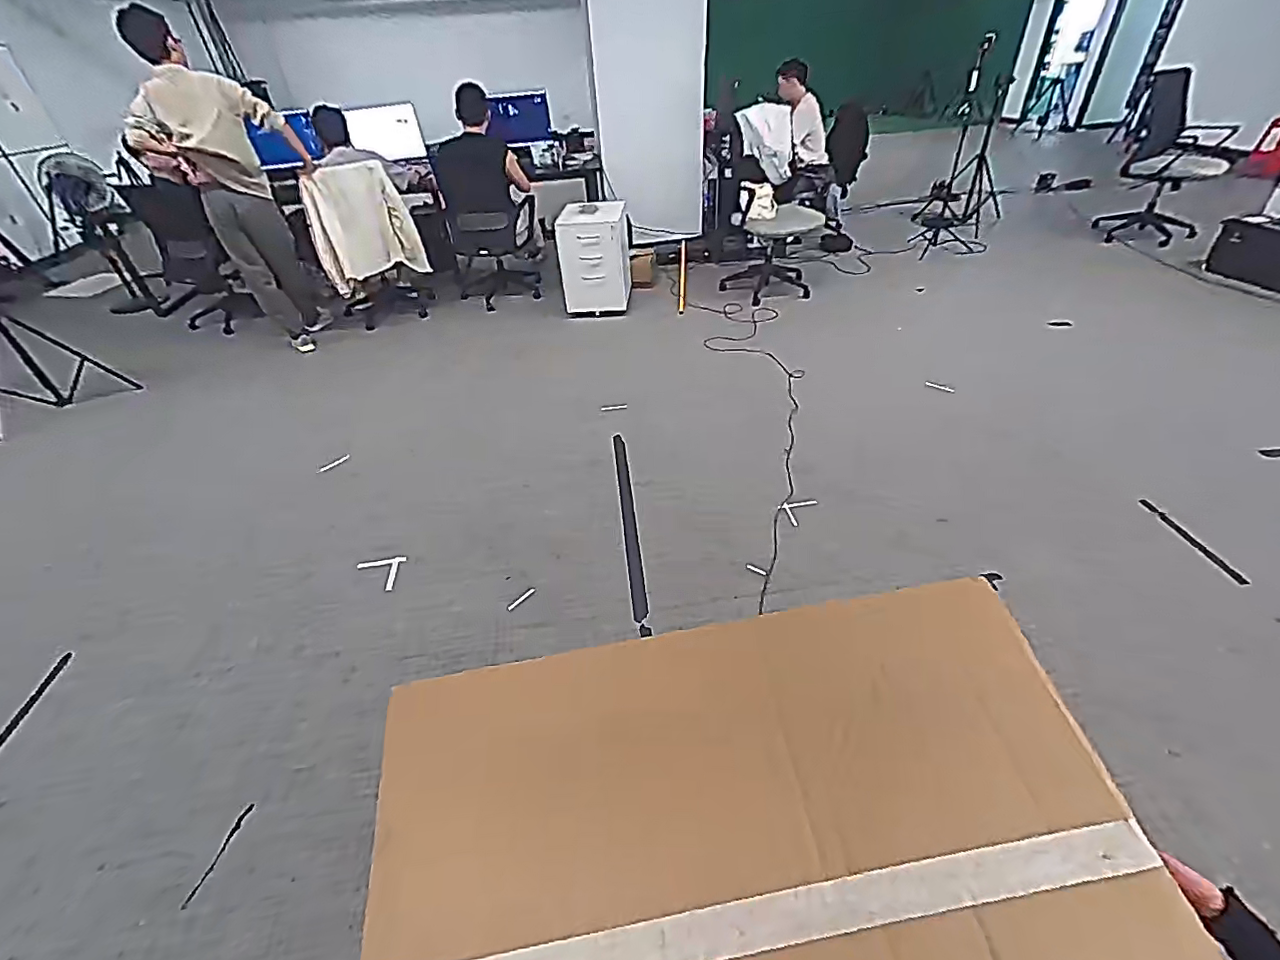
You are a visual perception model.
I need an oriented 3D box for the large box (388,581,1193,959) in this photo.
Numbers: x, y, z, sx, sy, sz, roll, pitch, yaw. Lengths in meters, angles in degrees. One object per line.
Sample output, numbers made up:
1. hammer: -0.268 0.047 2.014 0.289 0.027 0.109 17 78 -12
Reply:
1. large box: 0.073 0.316 0.402 0.408 0.320 0.320 -10 54 -2
